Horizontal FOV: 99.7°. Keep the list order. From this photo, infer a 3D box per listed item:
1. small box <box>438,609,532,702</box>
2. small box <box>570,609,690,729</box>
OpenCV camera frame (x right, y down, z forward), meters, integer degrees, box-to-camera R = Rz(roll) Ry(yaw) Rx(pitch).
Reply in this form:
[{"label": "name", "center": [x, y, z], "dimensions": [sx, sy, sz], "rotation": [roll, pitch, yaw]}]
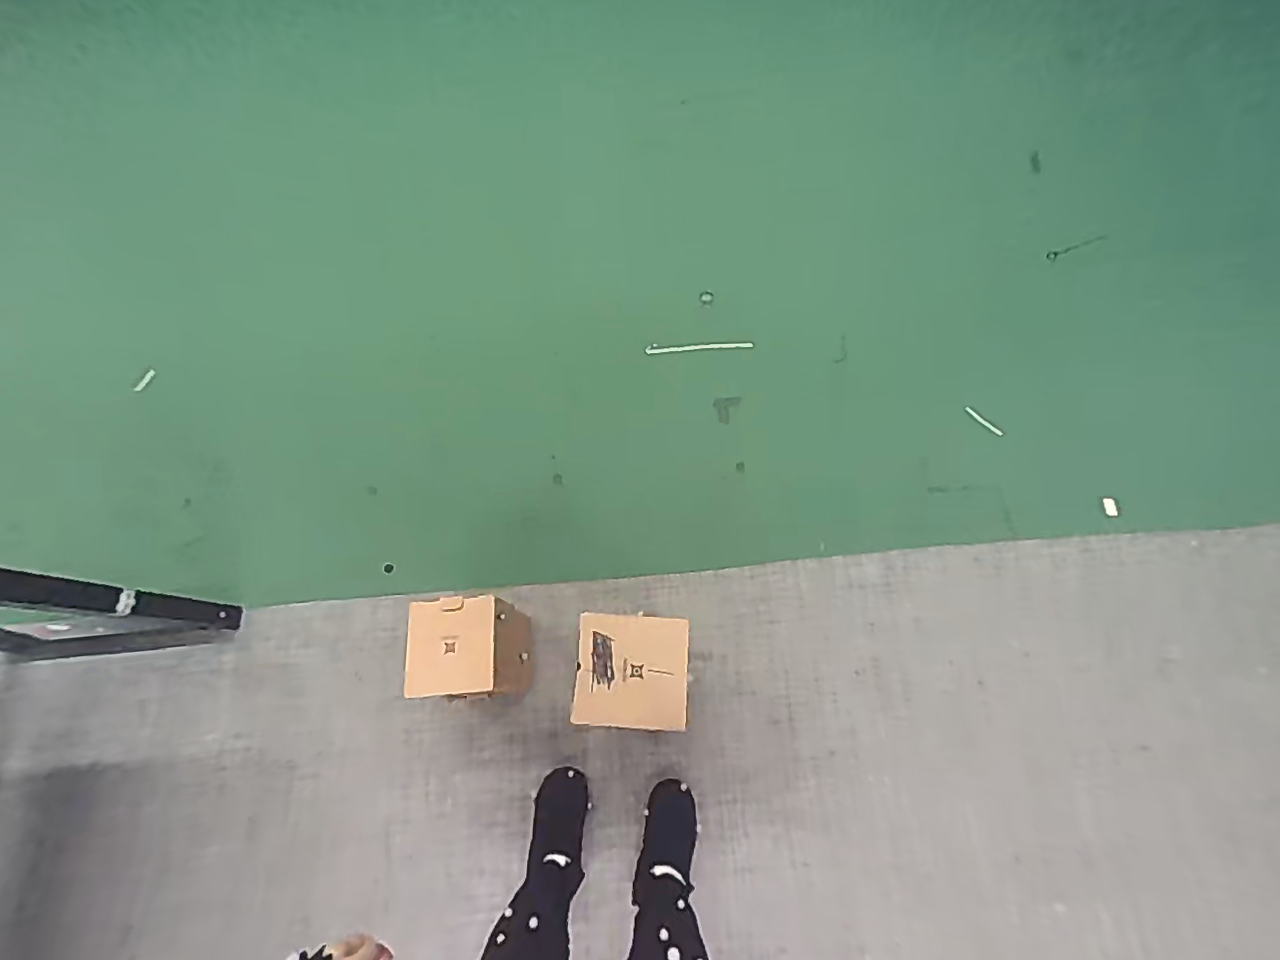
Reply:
[{"label": "small box", "center": [-0.345, 0.395, 1.222], "dimensions": [0.168, 0.176, 0.179], "rotation": [-7, 71, -2]}, {"label": "small box", "center": [-0.012, 0.312, 0.898], "dimensions": [0.179, 0.176, 0.168], "rotation": [3, 71, 2]}]
